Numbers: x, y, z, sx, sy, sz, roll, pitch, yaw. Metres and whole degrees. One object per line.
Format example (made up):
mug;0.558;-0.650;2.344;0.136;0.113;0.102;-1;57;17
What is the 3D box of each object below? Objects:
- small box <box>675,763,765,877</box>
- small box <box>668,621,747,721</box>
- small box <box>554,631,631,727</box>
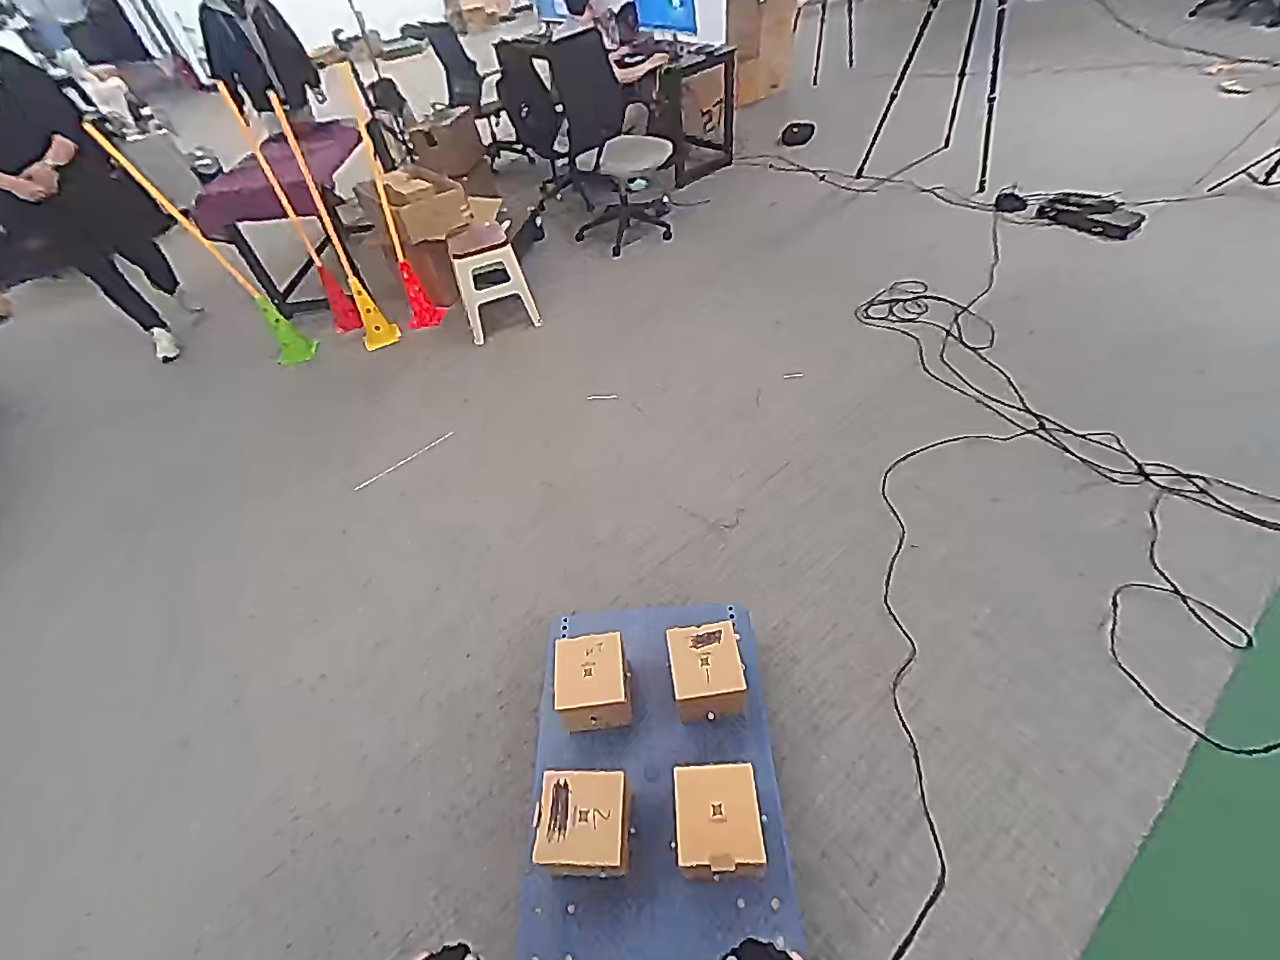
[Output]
small box;0.159;0.712;1.130;0.168;0.176;0.179;-4;49;3
small box;0.162;0.474;1.338;0.168;0.176;0.179;-8;49;1
small box;-0.115;0.503;1.350;0.168;0.176;0.179;-7;48;1
